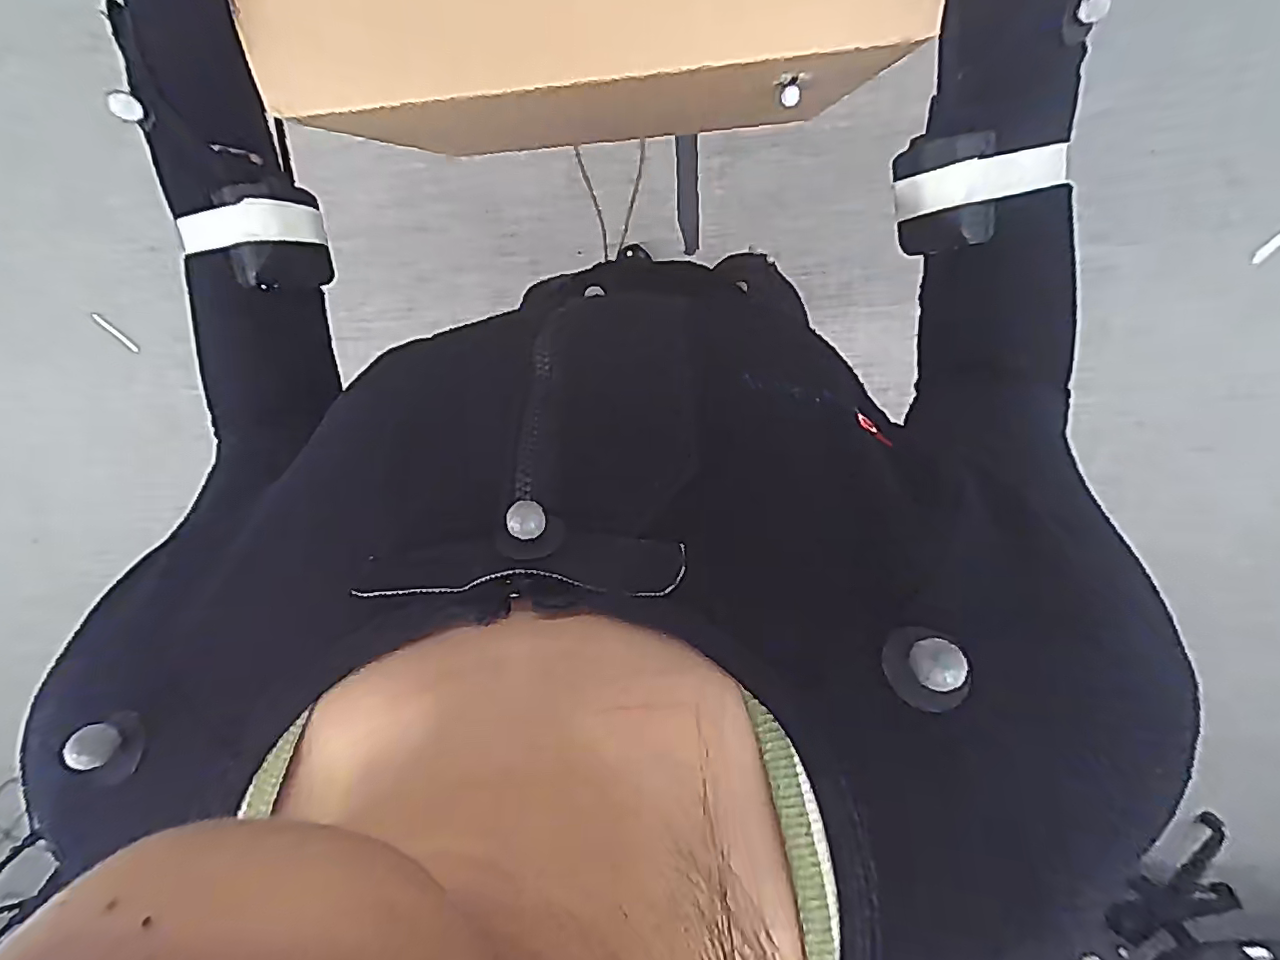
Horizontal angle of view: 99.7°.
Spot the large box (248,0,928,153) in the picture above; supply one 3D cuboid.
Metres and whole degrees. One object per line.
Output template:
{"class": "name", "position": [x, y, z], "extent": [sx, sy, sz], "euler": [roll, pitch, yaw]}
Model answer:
{"class": "large box", "position": [-0.037, -0.447, 0.397], "extent": [0.408, 0.320, 0.320], "euler": [-3, 116, 5]}
